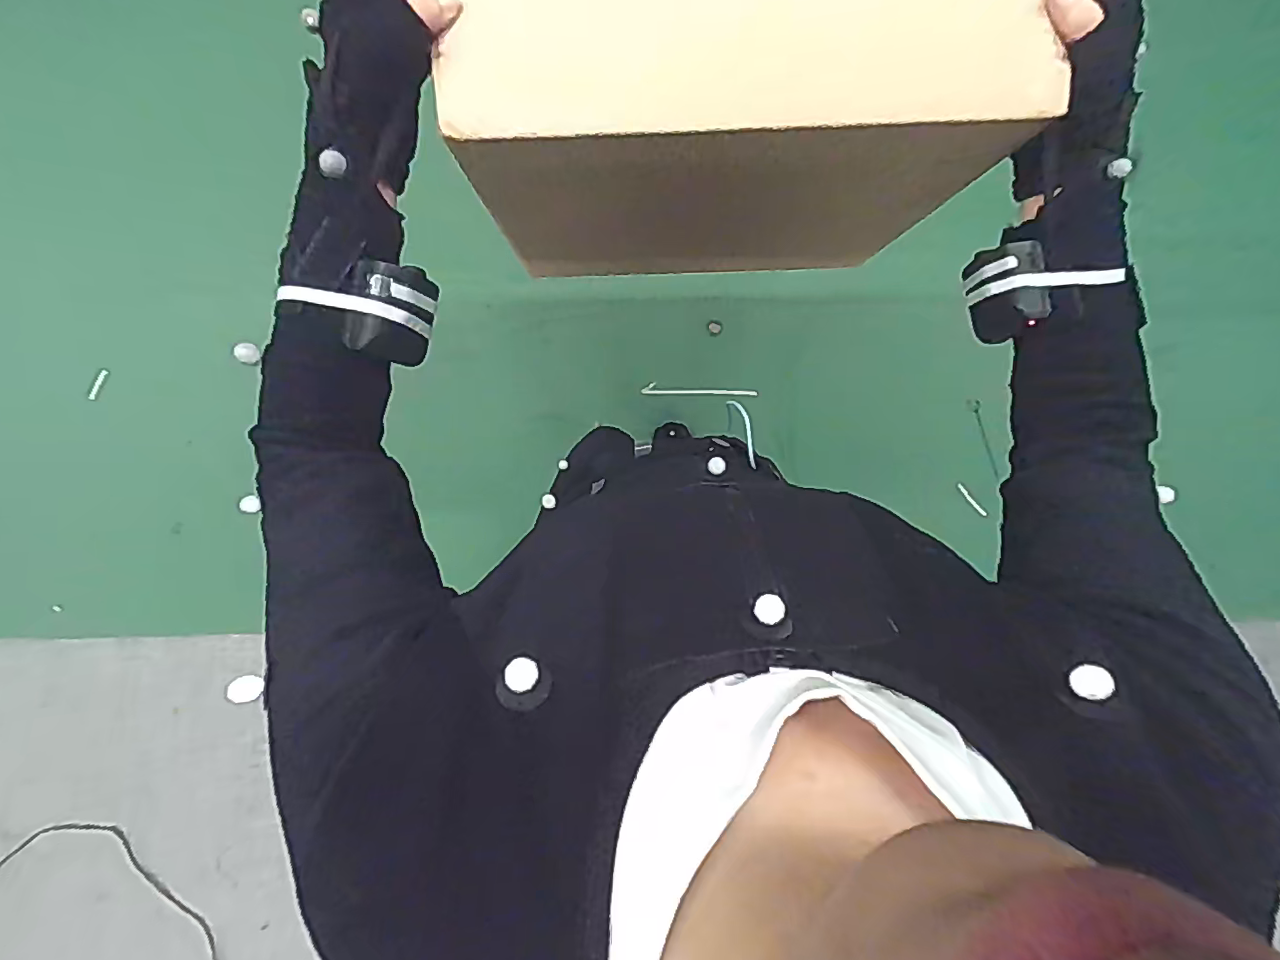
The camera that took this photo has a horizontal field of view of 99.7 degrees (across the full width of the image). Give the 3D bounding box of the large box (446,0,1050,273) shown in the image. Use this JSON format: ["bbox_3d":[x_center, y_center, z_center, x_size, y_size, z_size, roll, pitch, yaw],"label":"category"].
[{"bbox_3d":[0.061,-0.400,0.494,0.408,0.320,0.320,-3,95,-2],"label":"large box"}]
